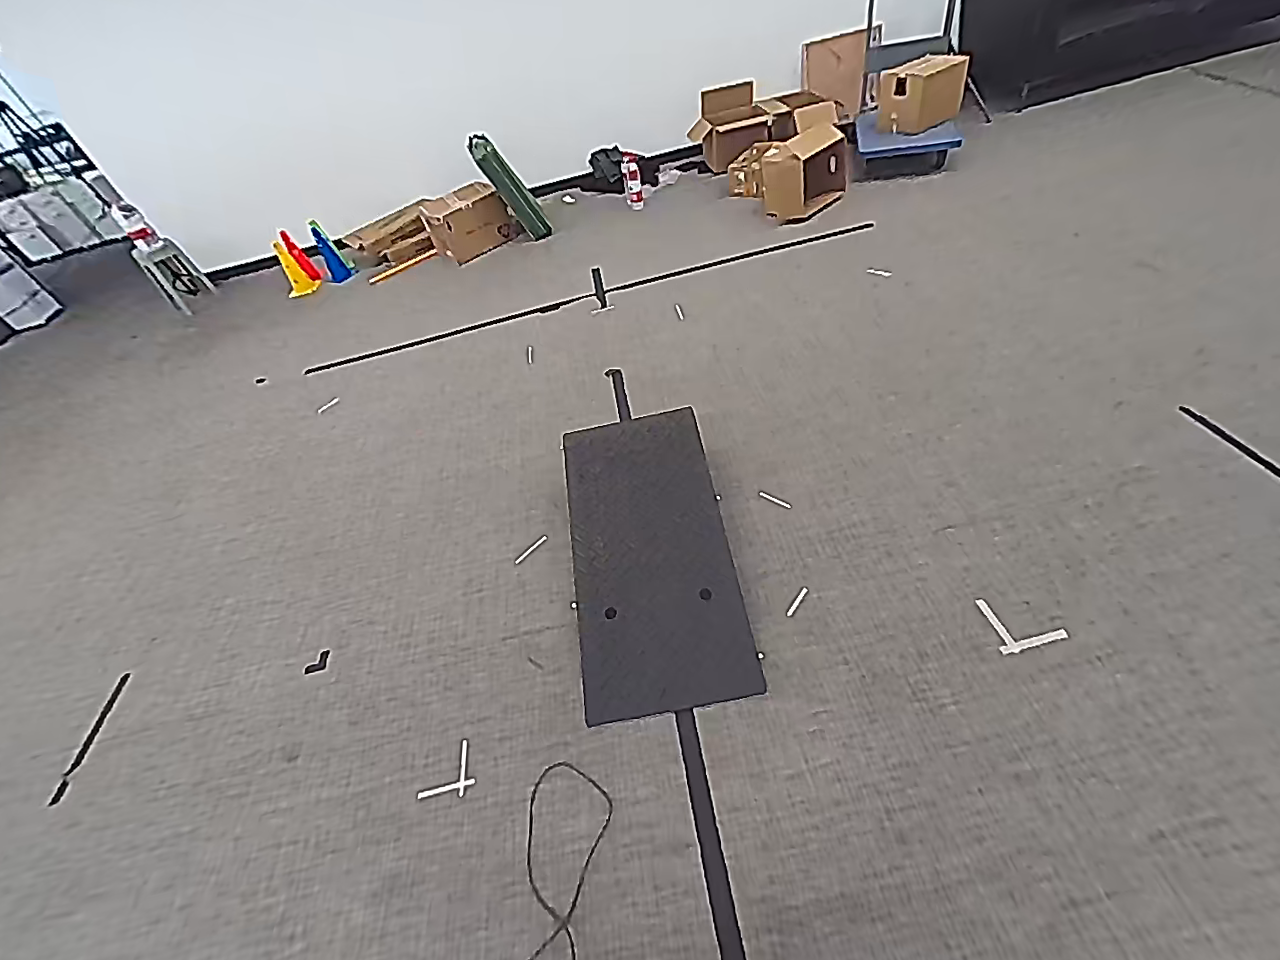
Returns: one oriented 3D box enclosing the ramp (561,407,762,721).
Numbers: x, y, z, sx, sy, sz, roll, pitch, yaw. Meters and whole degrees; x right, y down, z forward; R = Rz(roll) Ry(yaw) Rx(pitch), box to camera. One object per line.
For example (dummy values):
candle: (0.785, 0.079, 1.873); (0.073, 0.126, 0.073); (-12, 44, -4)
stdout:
ramp: (0.021, 0.192, 1.713); (0.509, 0.206, 0.991); (-12, 46, 1)
